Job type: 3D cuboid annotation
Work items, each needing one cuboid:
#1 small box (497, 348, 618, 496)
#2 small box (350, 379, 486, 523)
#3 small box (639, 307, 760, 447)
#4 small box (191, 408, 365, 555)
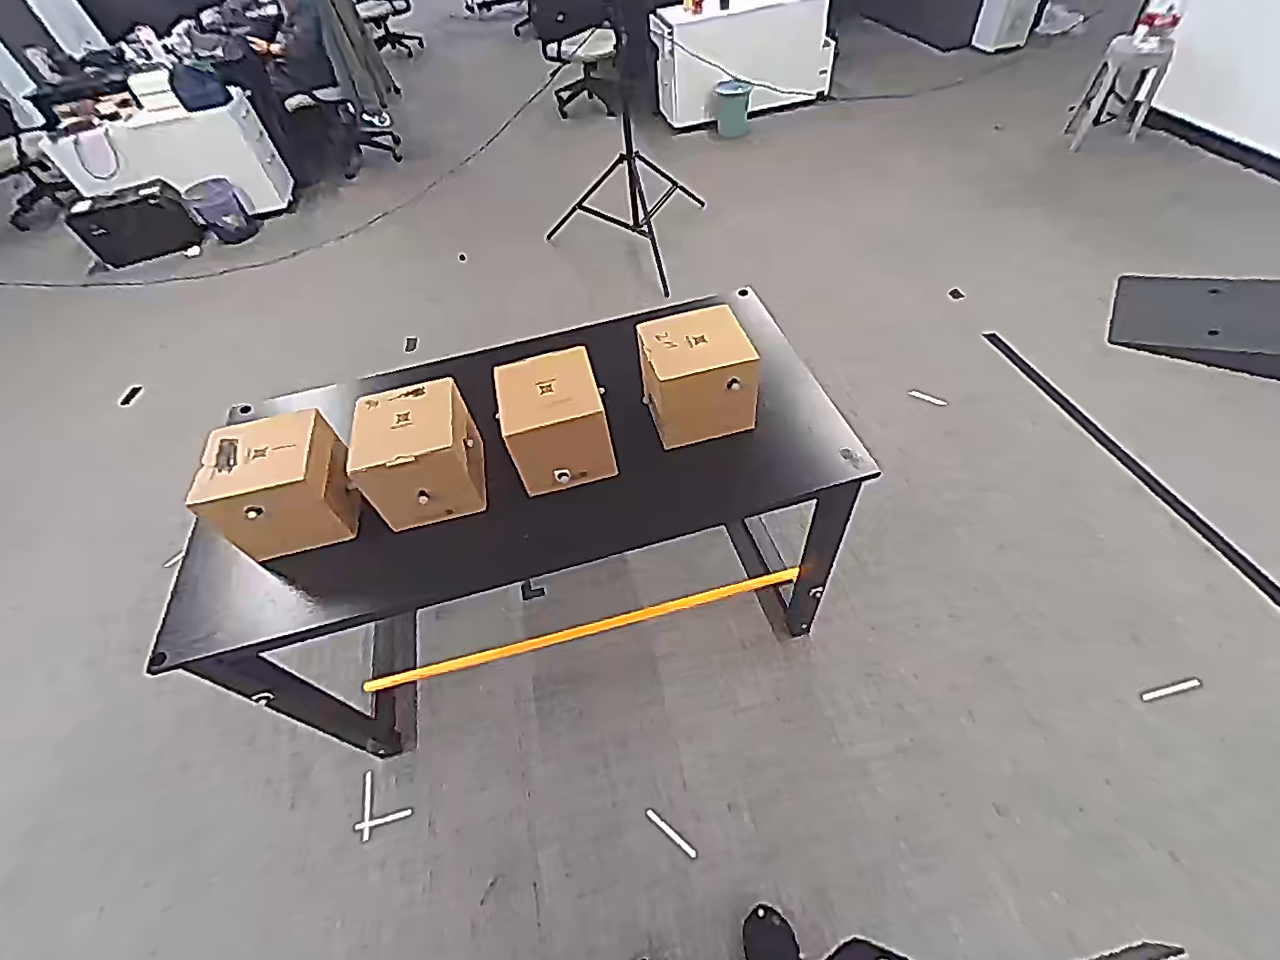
[{"bbox_3d":[-0.145,-0.102,0.962,0.168,0.176,0.179,-16,53,-4],"label":"small box"},{"bbox_3d":[-0.374,-0.043,0.942,0.168,0.176,0.179,-14,52,-4],"label":"small box"},{"bbox_3d":[0.105,-0.186,0.994,0.179,0.176,0.168,-14,51,-3],"label":"small box"},{"bbox_3d":[-0.601,0.008,0.927,0.179,0.176,0.168,-14,52,-5],"label":"small box"}]
